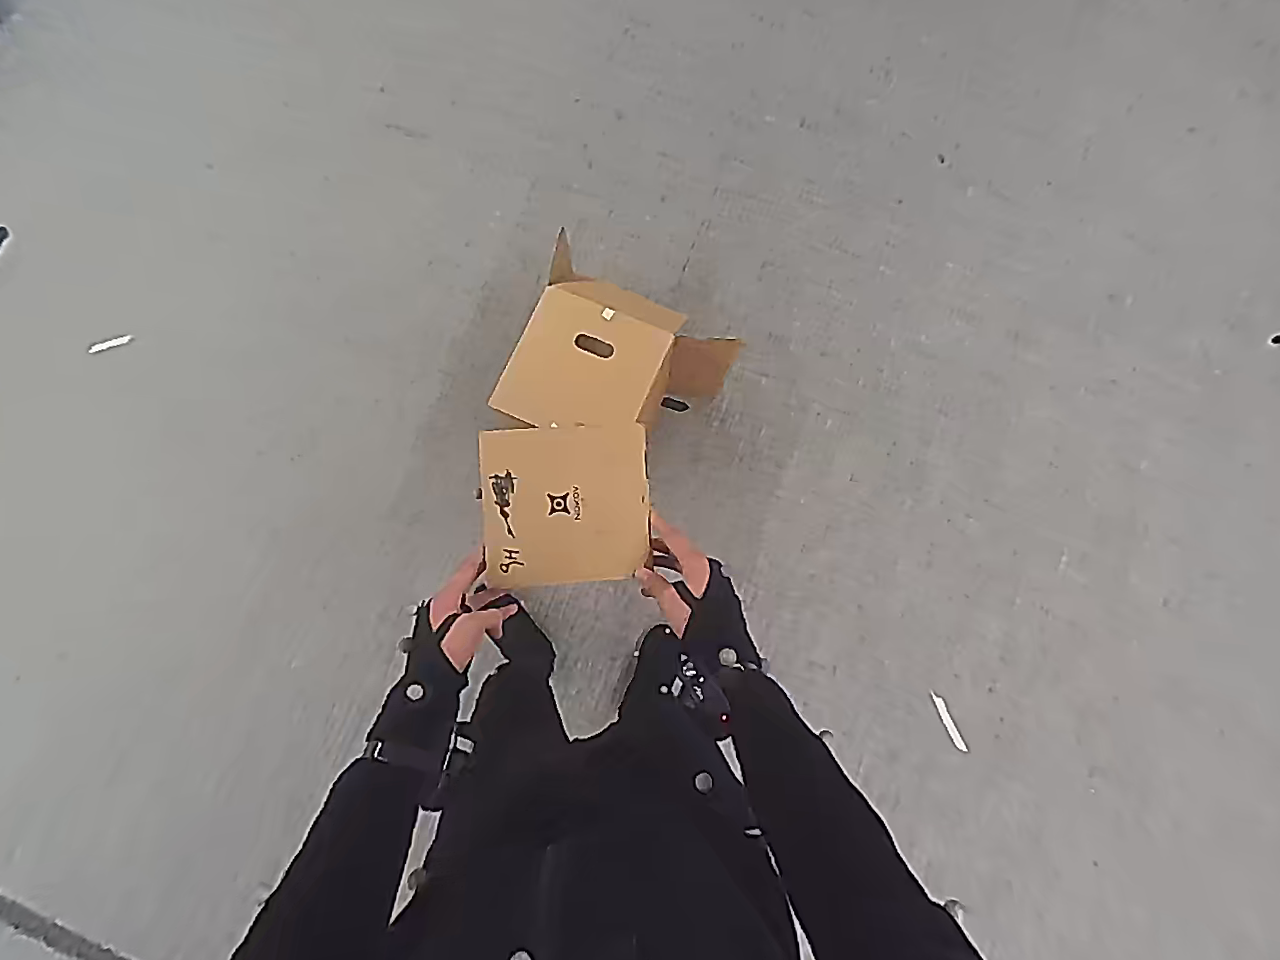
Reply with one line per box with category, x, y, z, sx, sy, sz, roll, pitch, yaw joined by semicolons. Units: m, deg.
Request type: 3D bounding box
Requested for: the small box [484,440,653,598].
small box;-0.084;0.042;0.655;0.179;0.176;0.168;-3;88;-5
